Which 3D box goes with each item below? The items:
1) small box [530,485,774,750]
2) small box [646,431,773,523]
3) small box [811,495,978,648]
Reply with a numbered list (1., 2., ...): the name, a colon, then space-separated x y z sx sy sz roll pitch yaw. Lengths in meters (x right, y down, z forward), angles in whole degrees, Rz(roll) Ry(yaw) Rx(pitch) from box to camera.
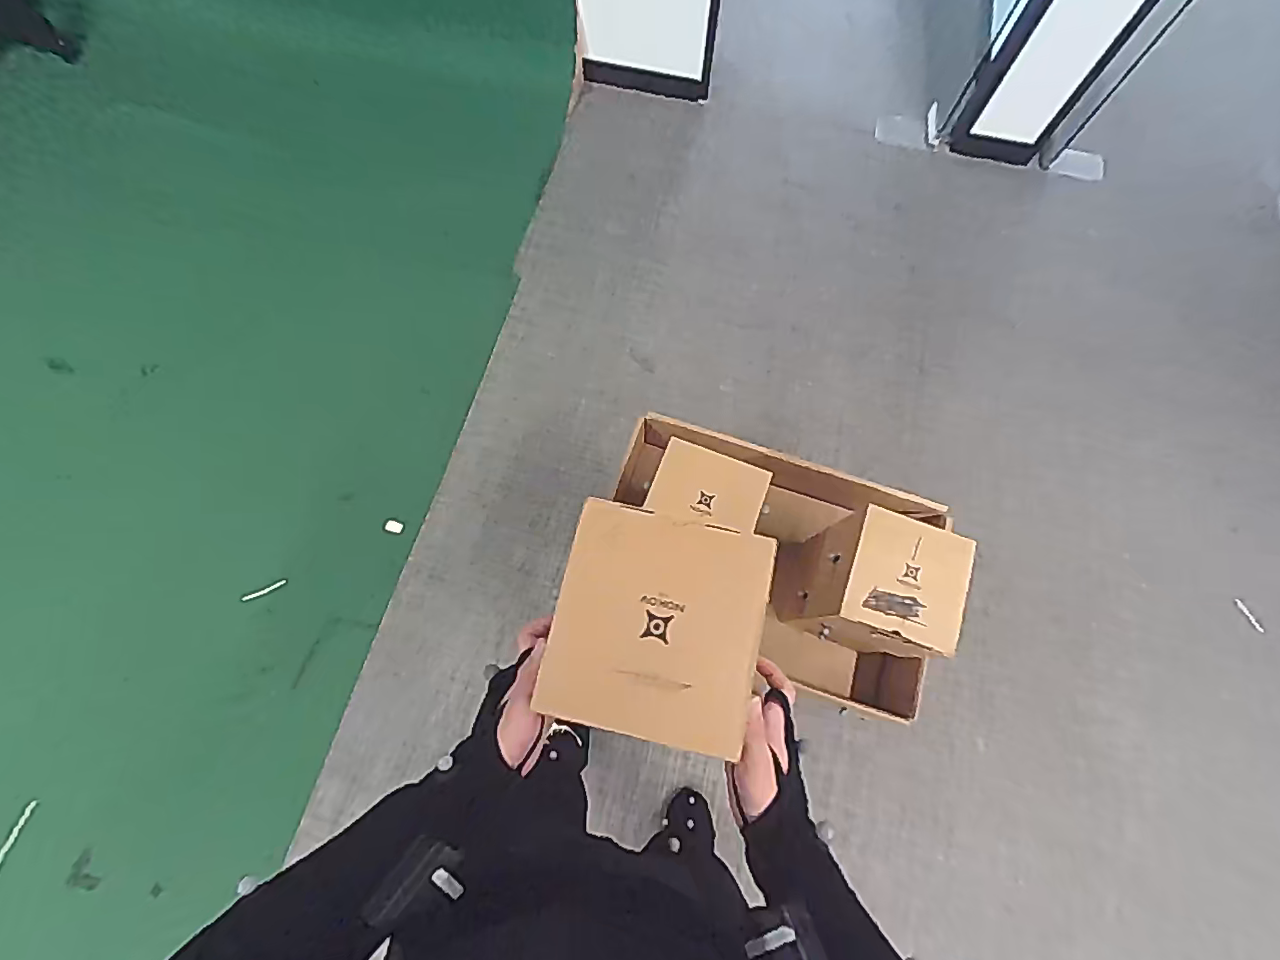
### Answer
1. small box: 0.014 0.123 0.507 0.168 0.176 0.179 13 76 5
2. small box: 0.094 0.052 0.871 0.168 0.176 0.179 20 74 7
3. small box: 0.383 0.148 0.843 0.168 0.176 0.179 20 74 5
